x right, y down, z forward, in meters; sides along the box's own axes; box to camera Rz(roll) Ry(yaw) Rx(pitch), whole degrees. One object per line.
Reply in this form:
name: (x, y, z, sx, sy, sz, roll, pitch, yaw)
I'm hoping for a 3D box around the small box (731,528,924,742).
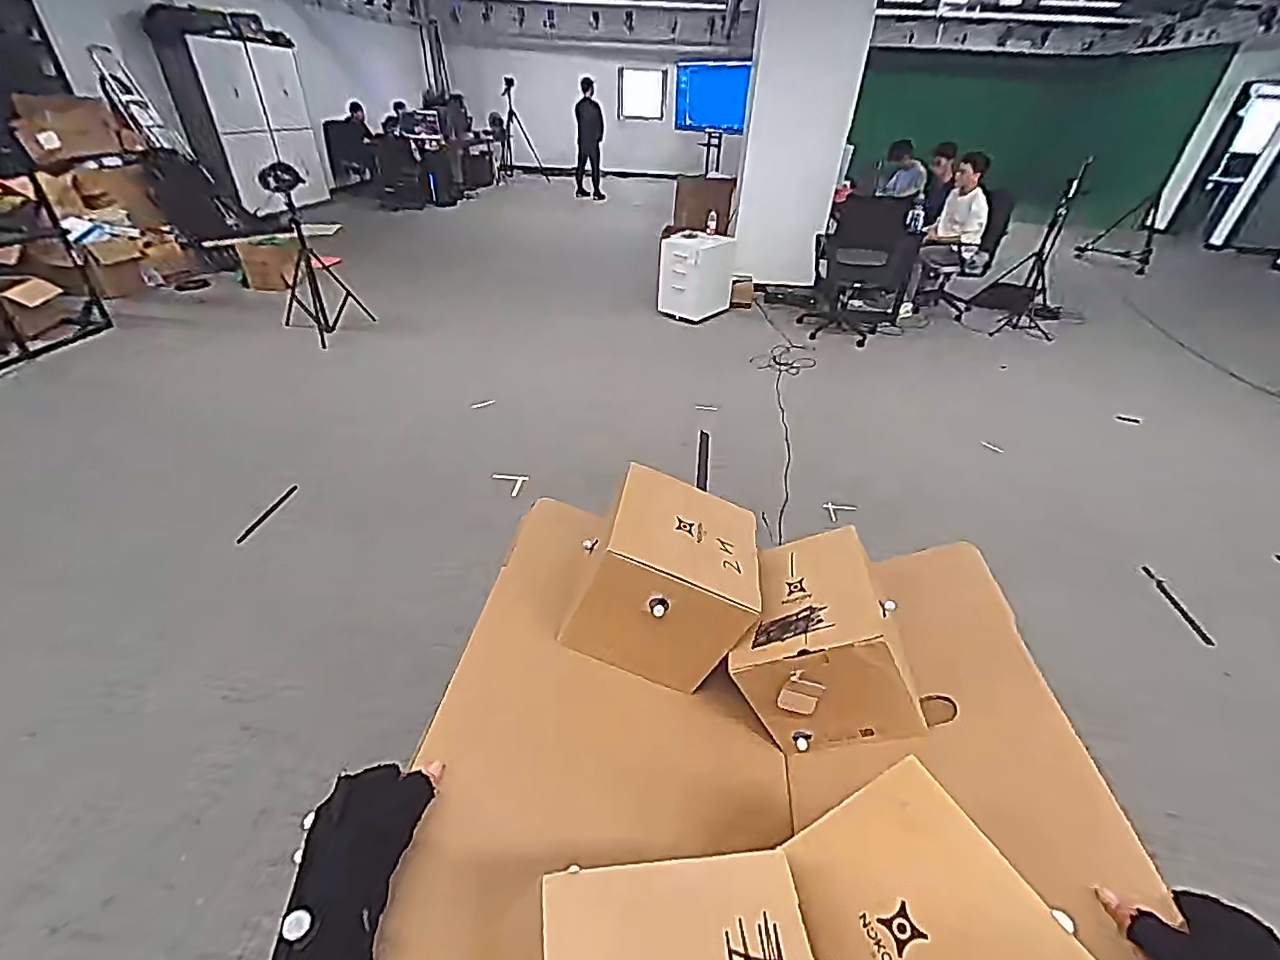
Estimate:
small box: (0.222, 0.194, 0.655, 0.168, 0.176, 0.179, -21, 27, 23)
